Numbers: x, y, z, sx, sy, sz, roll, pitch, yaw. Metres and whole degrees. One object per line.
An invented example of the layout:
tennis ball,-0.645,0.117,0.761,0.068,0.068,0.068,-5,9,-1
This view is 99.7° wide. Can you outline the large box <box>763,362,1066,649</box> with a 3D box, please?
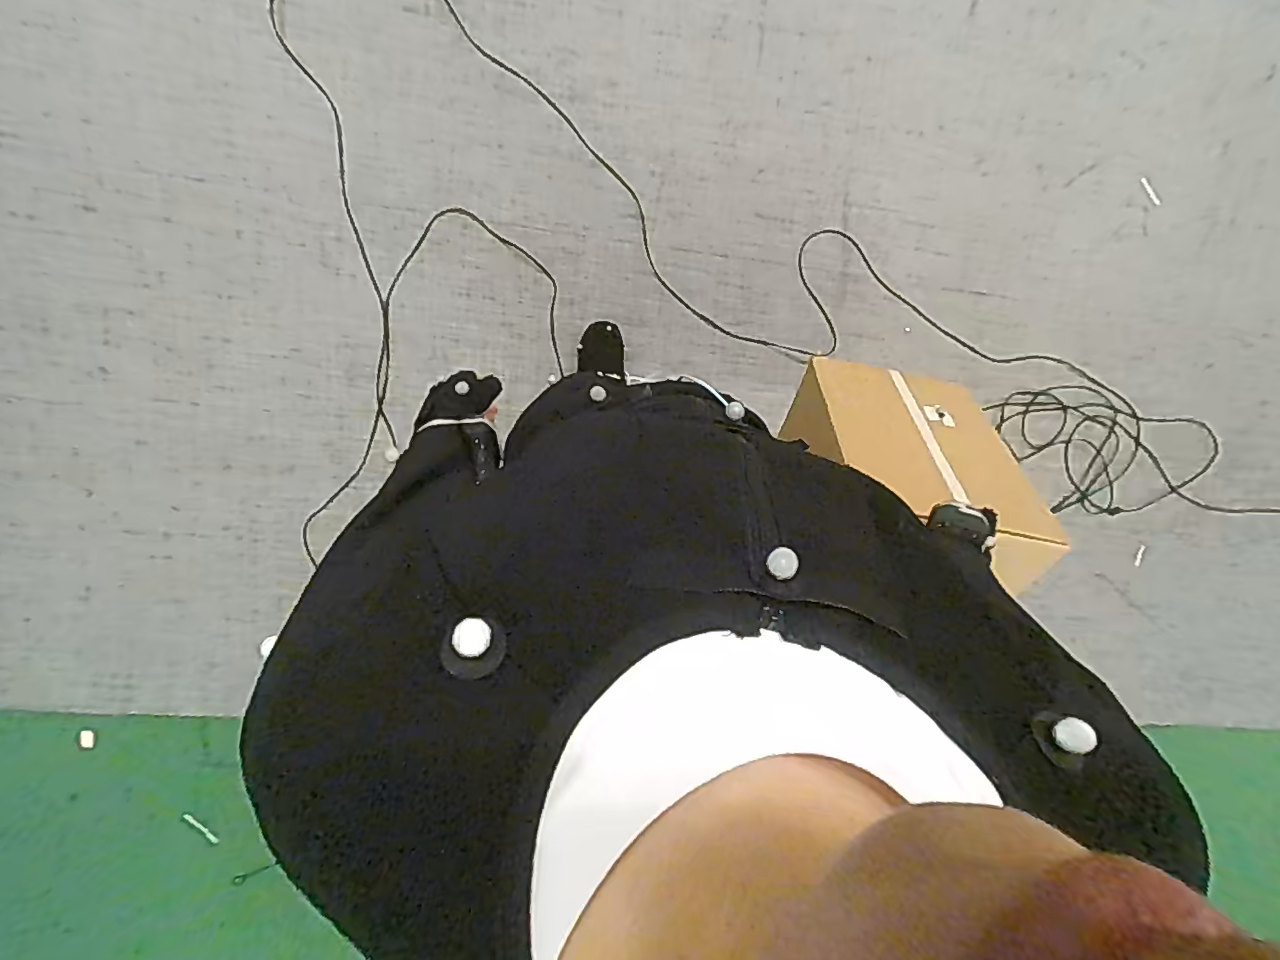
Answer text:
large box,0.436,0.042,0.988,0.320,0.408,0.320,11,132,-4
